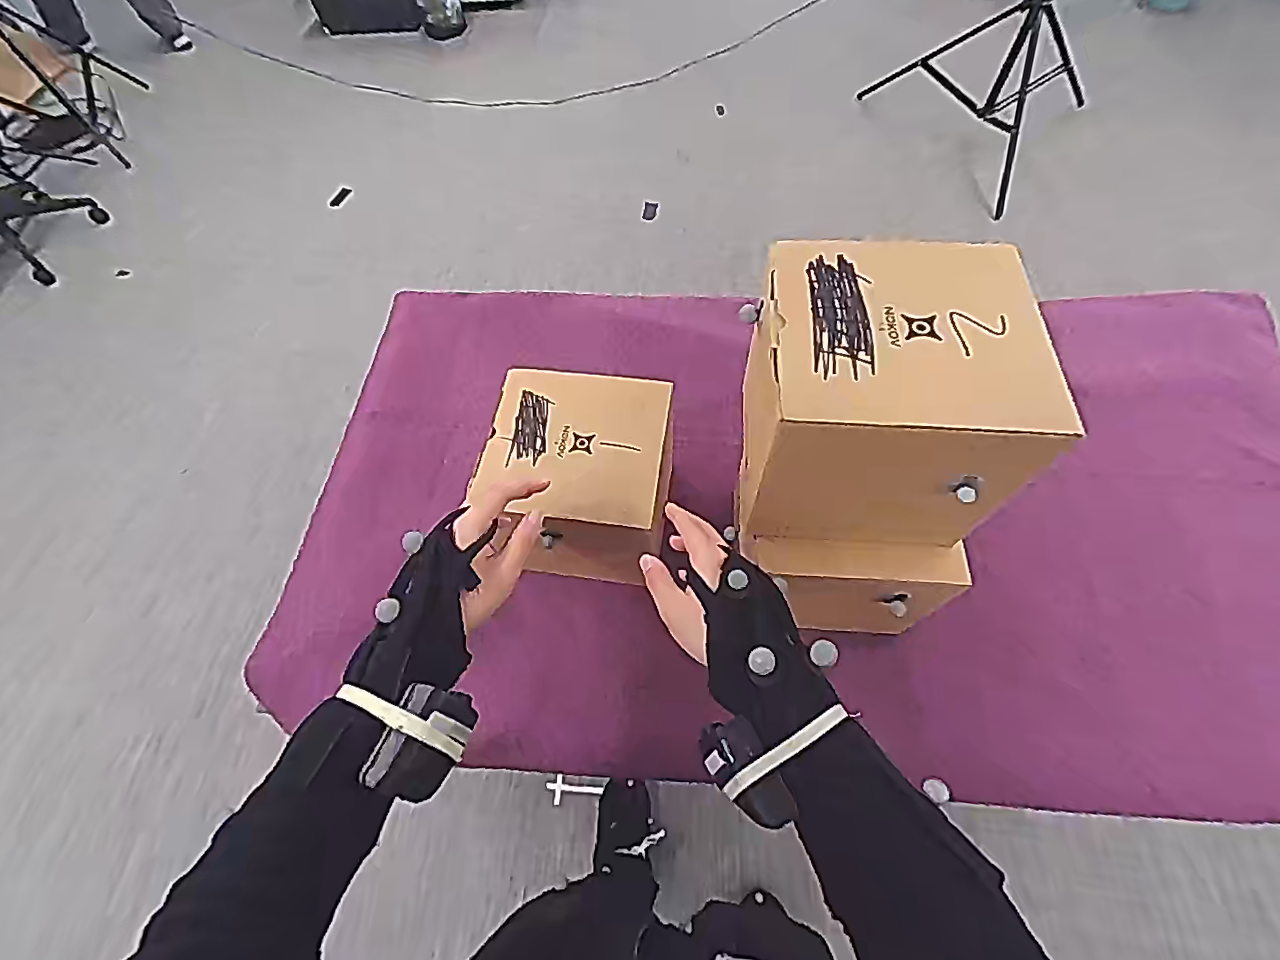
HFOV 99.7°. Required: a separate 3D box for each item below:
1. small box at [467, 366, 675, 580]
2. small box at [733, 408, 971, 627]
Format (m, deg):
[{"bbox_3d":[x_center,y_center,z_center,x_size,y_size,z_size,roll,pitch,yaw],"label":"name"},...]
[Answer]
[{"bbox_3d":[-0.059,-0.001,0.592,0.179,0.176,0.168,7,61,6],"label":"small box"},{"bbox_3d":[0.193,0.046,0.552,0.179,0.176,0.168,3,60,5],"label":"small box"}]
